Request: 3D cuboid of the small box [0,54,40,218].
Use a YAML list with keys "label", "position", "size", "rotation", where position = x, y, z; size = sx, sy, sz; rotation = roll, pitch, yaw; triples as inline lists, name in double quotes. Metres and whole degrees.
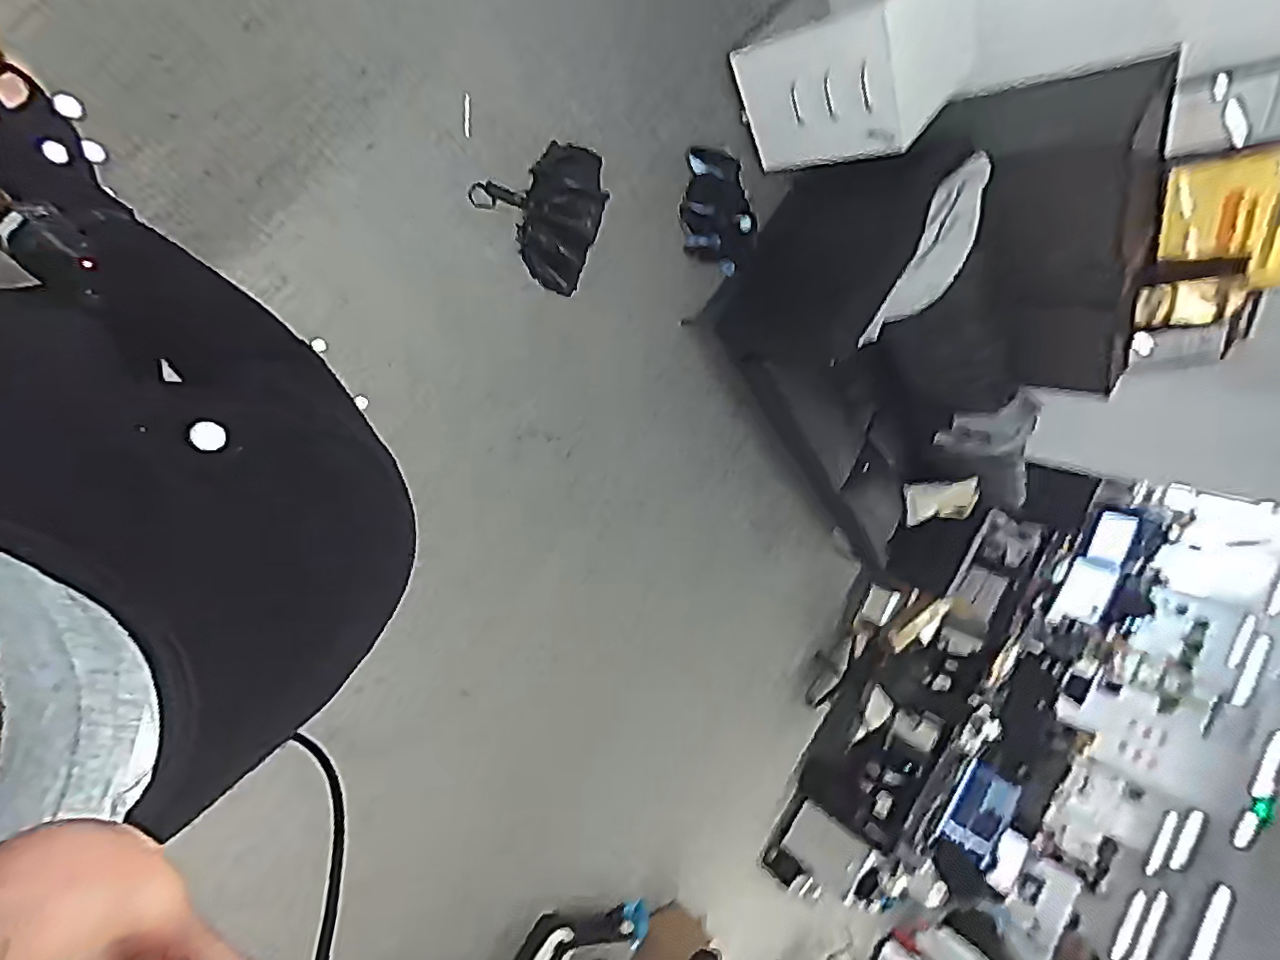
- label: "small box"
  position: [-0.650, -0.349, 0.451]
  size: [0.168, 0.176, 0.179]
  rotation: [-16, 88, -43]
